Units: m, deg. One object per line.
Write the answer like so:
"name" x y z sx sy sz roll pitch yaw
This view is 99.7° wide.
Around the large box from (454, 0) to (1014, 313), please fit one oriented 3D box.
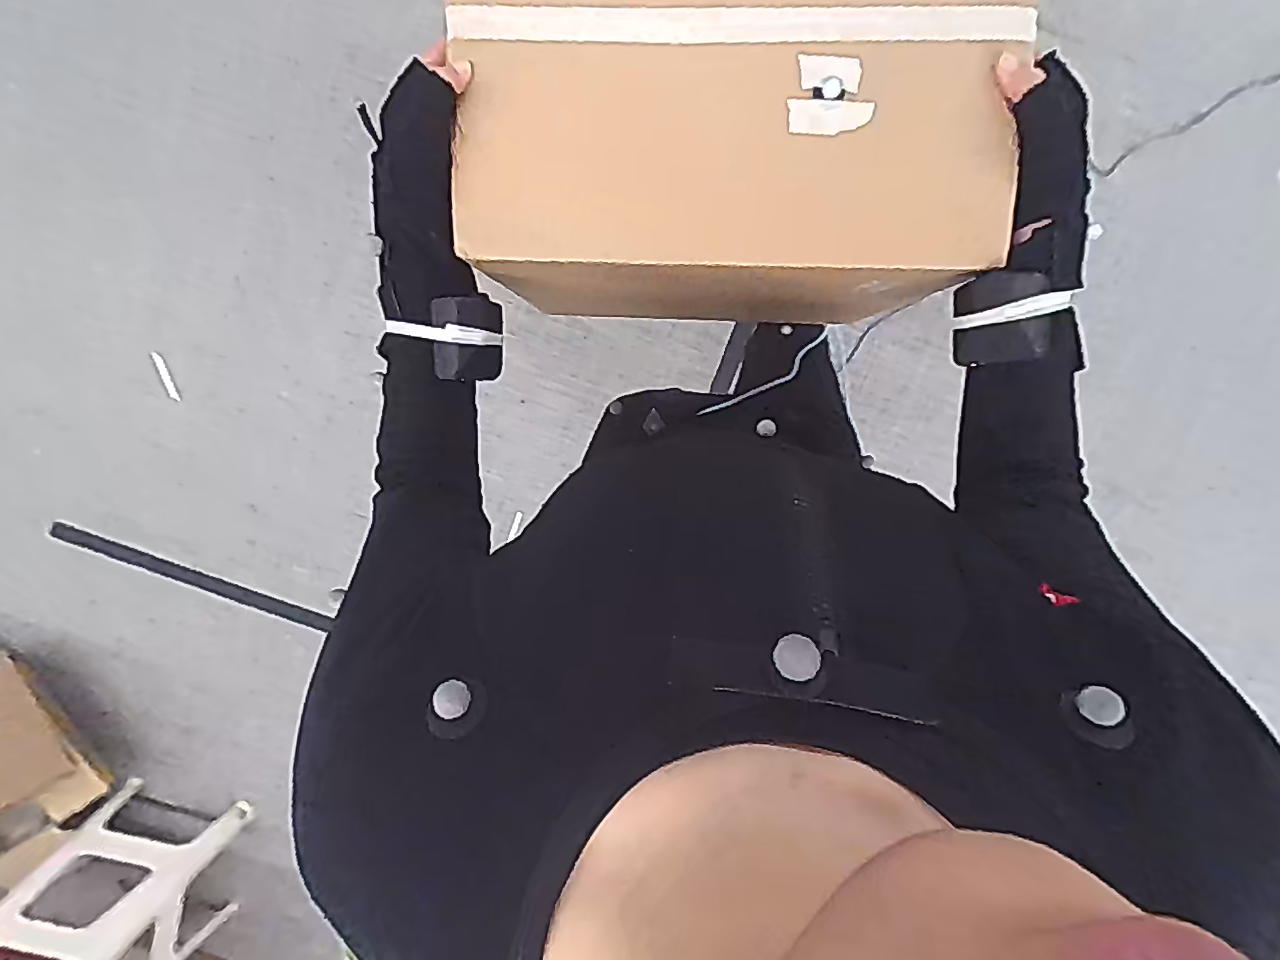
"large box" 0.066 -0.347 0.532 0.408 0.320 0.320 1 100 1
